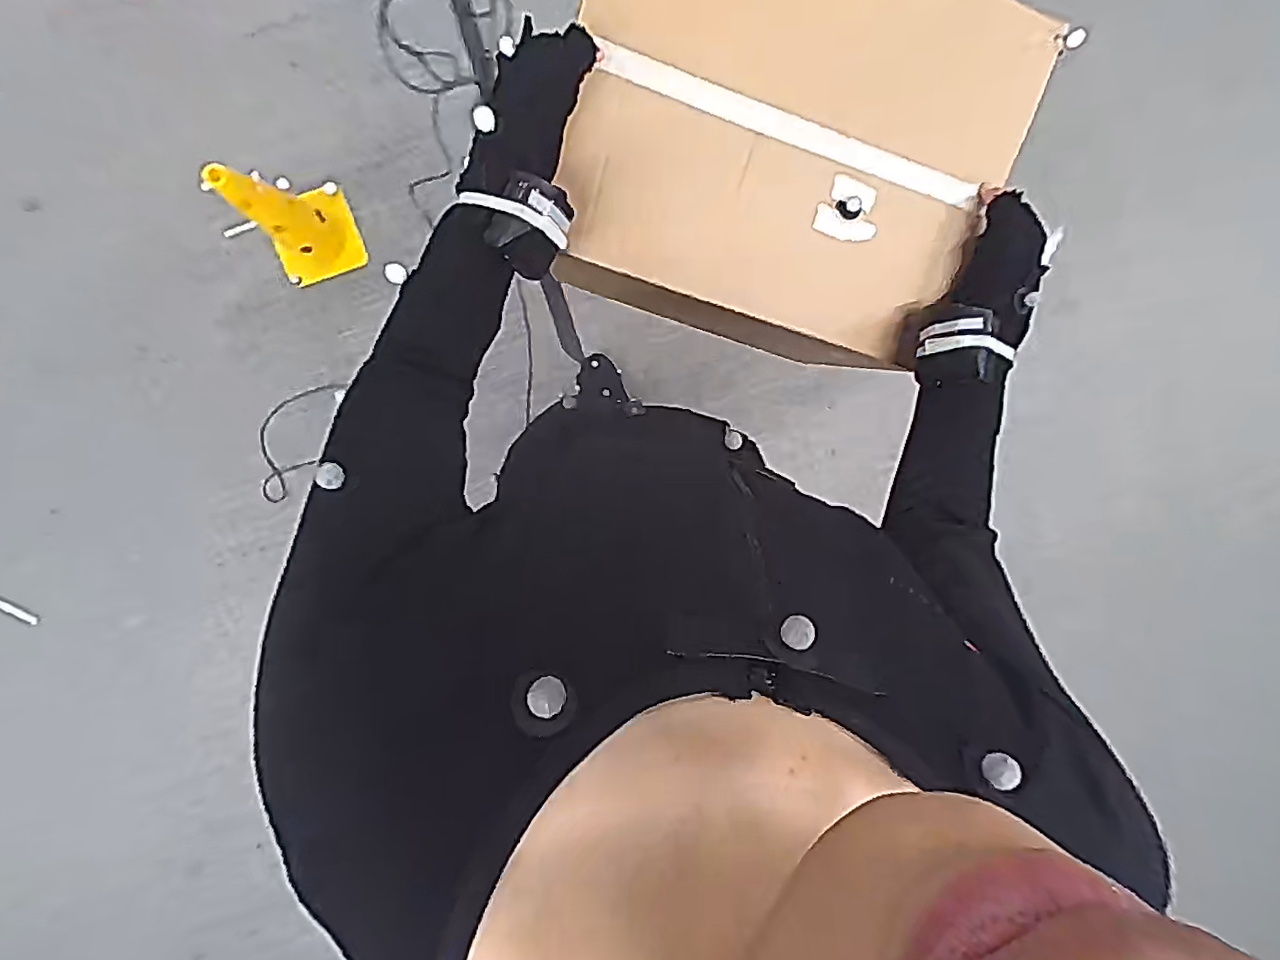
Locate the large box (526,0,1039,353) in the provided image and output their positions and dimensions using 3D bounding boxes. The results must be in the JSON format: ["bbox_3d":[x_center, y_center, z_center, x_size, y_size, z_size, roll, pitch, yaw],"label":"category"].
[{"bbox_3d":[0.110,-0.348,0.622,0.408,0.320,0.320,14,102,-9],"label":"large box"}]
